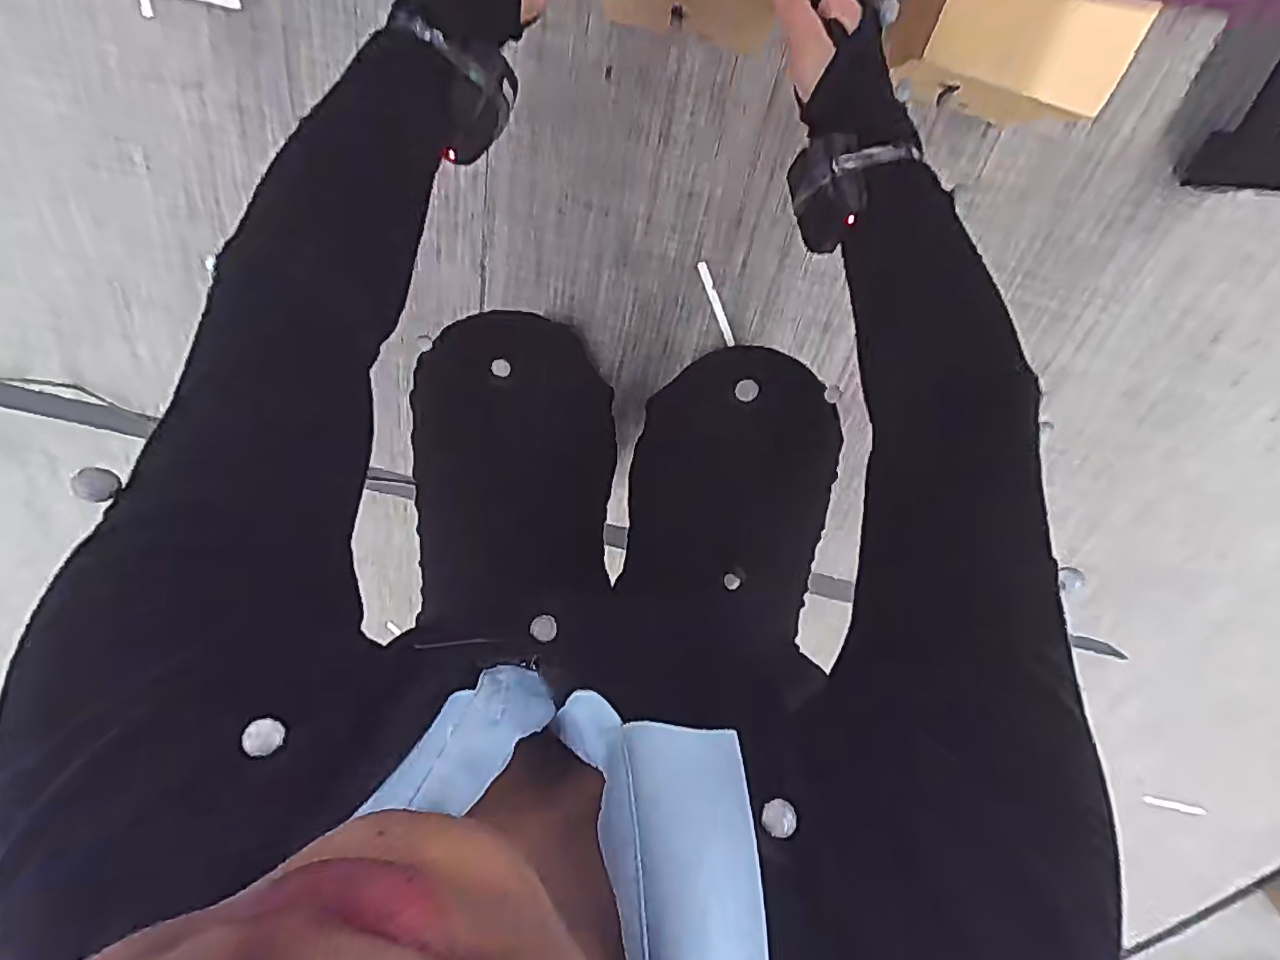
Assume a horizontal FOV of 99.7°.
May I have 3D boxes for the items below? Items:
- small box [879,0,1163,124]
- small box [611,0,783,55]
[{"bbox_3d":[0.343,-0.446,0.490,0.168,0.176,0.179,15,121,-5],"label":"small box"},{"bbox_3d":[0.061,-0.504,0.461,0.168,0.176,0.179,13,114,-3],"label":"small box"}]
